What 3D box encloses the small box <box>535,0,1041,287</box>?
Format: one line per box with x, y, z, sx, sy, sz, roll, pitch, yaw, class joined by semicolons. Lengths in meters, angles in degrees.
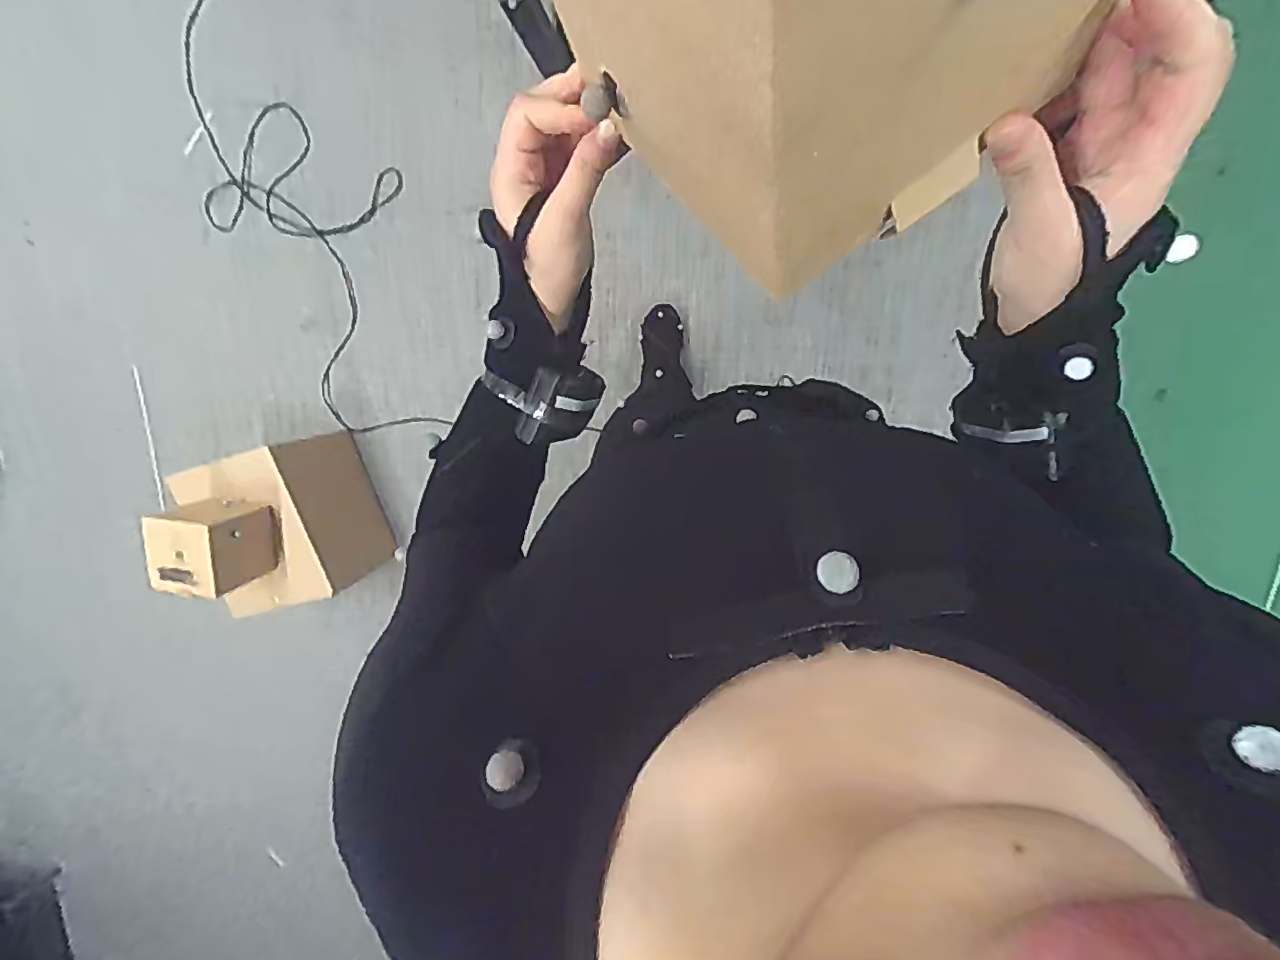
0.052;-0.225;0.212;0.168;0.176;0.179;-37;71;5;small box
